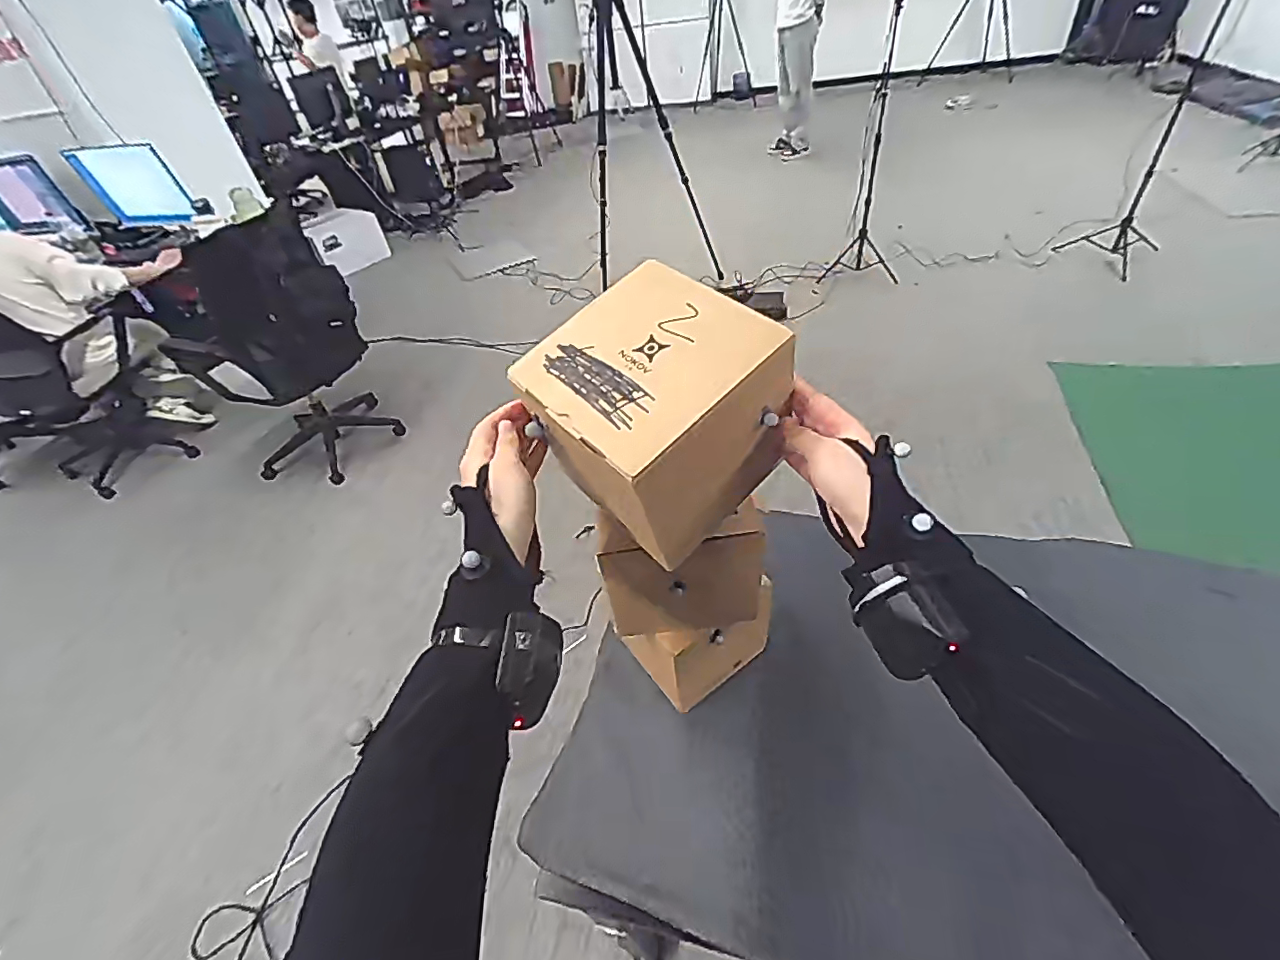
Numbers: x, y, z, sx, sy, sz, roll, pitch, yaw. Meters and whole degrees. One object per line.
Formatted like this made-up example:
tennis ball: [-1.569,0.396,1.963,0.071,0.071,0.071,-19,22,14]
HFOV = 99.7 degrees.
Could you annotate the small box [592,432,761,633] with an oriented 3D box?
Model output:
small box: [0.041,0.067,0.661,0.179,0.176,0.168,-8,44,2]

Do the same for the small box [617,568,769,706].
small box: [0.063,0.183,0.777,0.168,0.176,0.179,-31,47,-21]
